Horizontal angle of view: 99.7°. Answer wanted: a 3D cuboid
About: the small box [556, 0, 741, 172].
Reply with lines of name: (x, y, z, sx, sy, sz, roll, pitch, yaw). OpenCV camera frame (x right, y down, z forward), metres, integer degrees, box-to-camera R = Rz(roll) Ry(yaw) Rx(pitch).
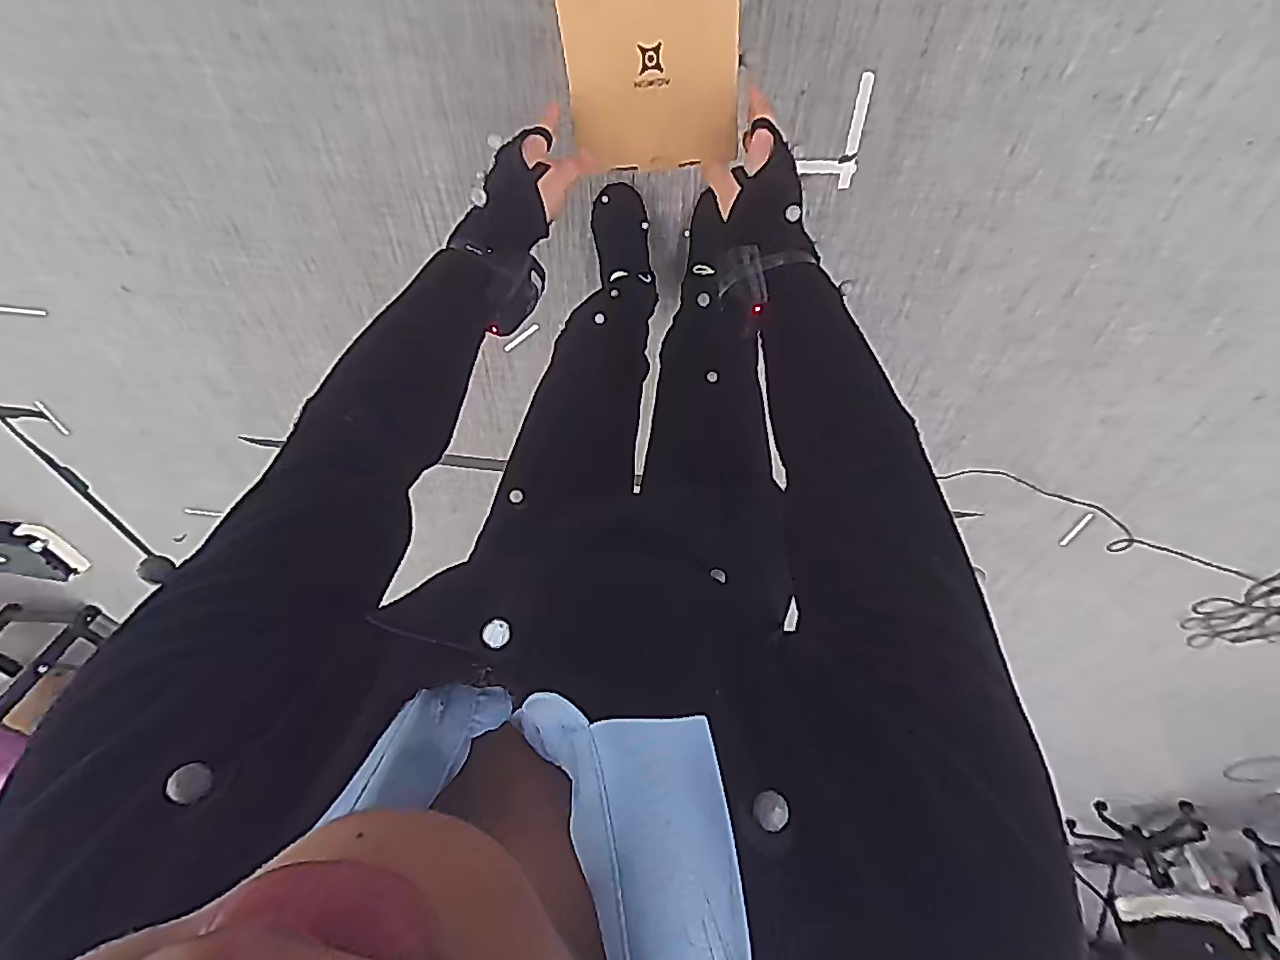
small box: (0.019, -0.446, 0.562, 0.168, 0.176, 0.179, 0, 135, 9)
